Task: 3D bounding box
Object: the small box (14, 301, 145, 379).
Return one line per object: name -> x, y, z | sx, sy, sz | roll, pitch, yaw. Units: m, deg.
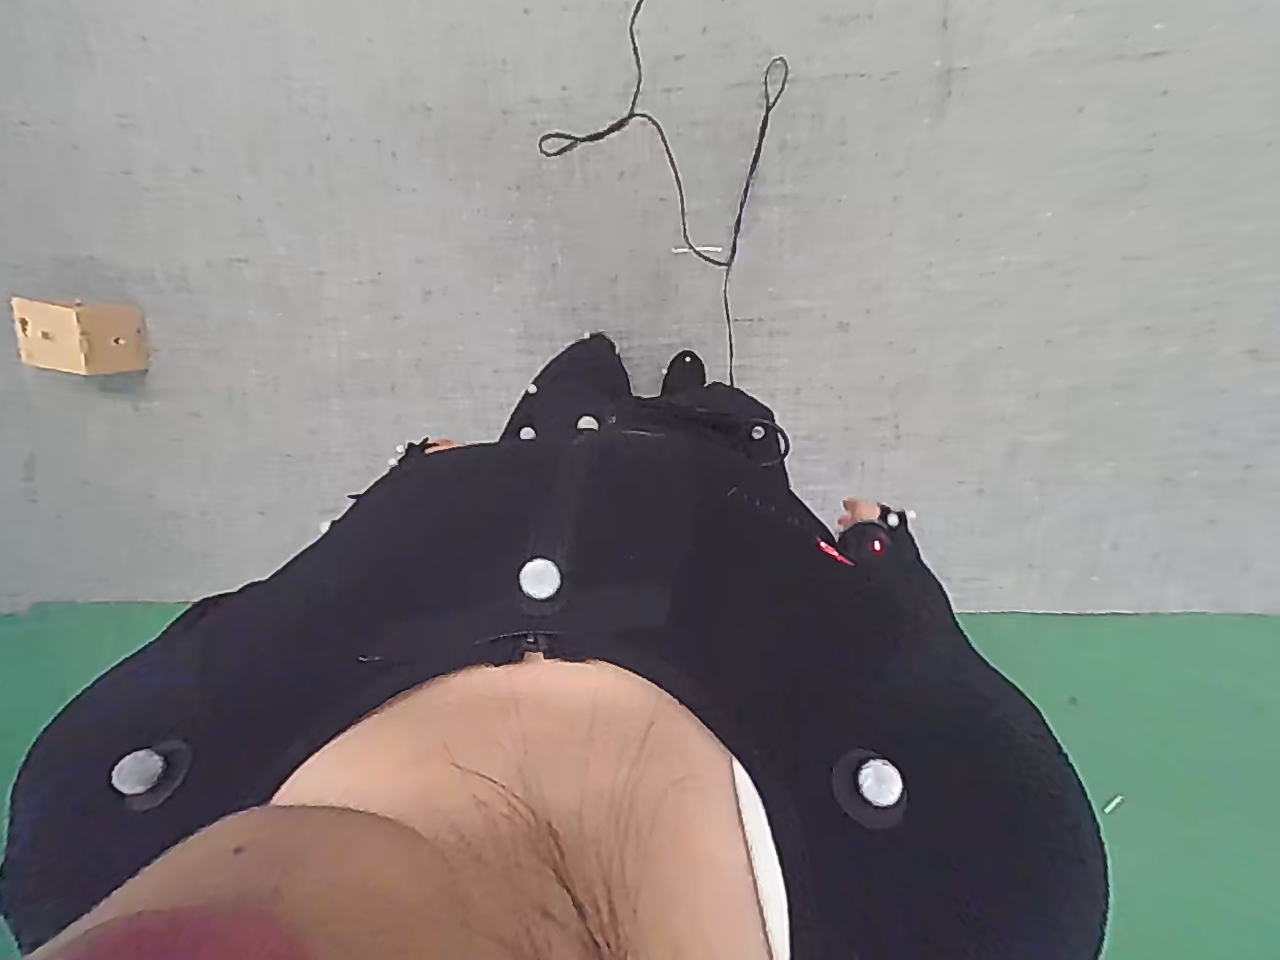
small box -> -1.457, -0.374, 1.423 | 0.179, 0.176, 0.168 | 11, 108, 1
